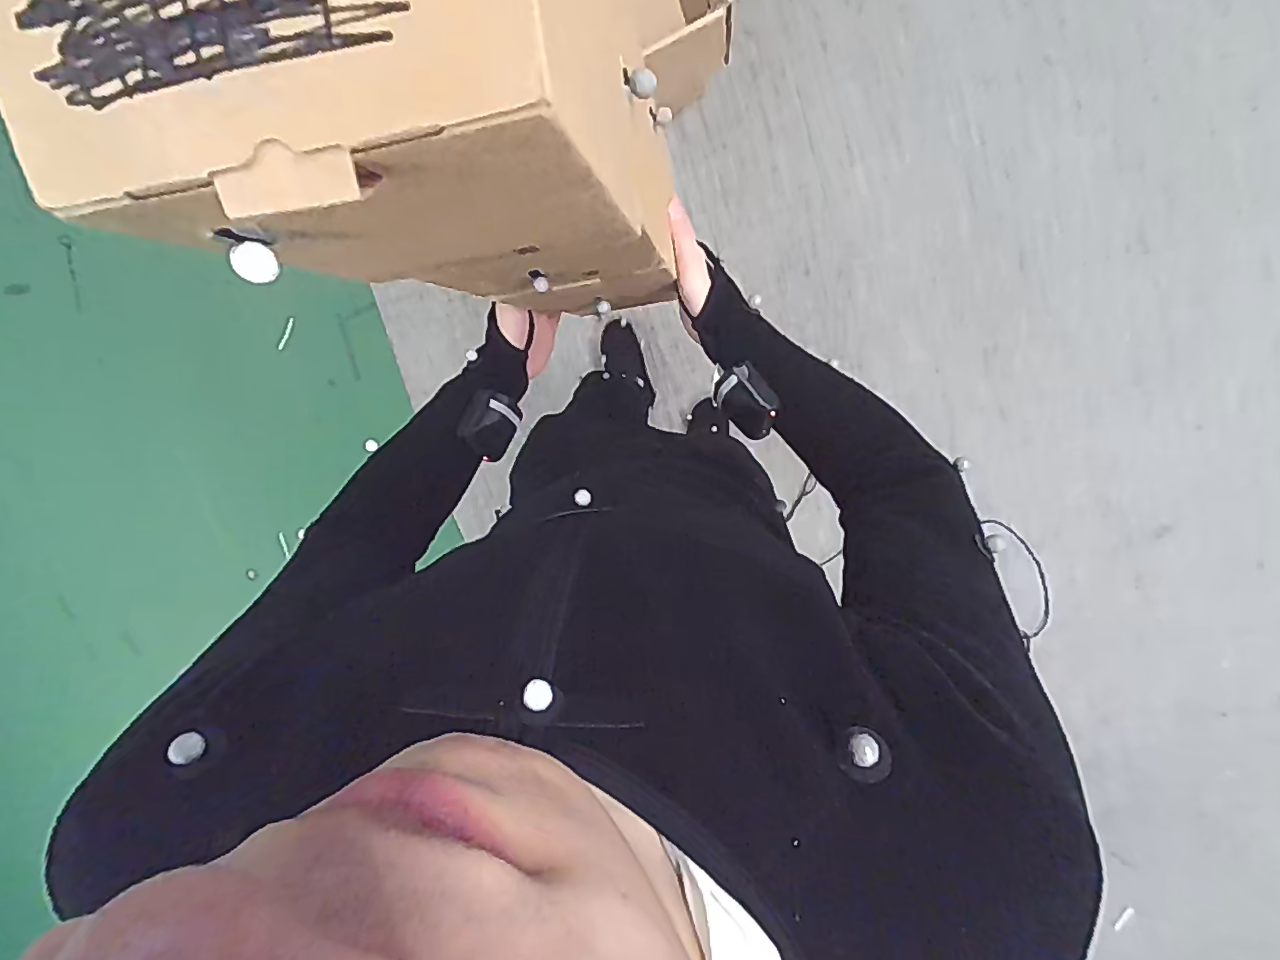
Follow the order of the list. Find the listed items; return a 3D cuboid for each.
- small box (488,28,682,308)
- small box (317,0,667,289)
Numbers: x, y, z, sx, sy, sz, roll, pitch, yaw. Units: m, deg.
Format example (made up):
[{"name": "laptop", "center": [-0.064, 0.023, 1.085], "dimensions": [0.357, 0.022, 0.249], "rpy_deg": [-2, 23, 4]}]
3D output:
[{"name": "small box", "center": [-0.054, -0.275, 0.522], "dimensions": [0.168, 0.176, 0.179], "rpy_deg": [-7, 102, 10]}, {"name": "small box", "center": [-0.077, -0.241, 0.365], "dimensions": [0.168, 0.176, 0.179], "rpy_deg": [-8, 103, 9]}]
